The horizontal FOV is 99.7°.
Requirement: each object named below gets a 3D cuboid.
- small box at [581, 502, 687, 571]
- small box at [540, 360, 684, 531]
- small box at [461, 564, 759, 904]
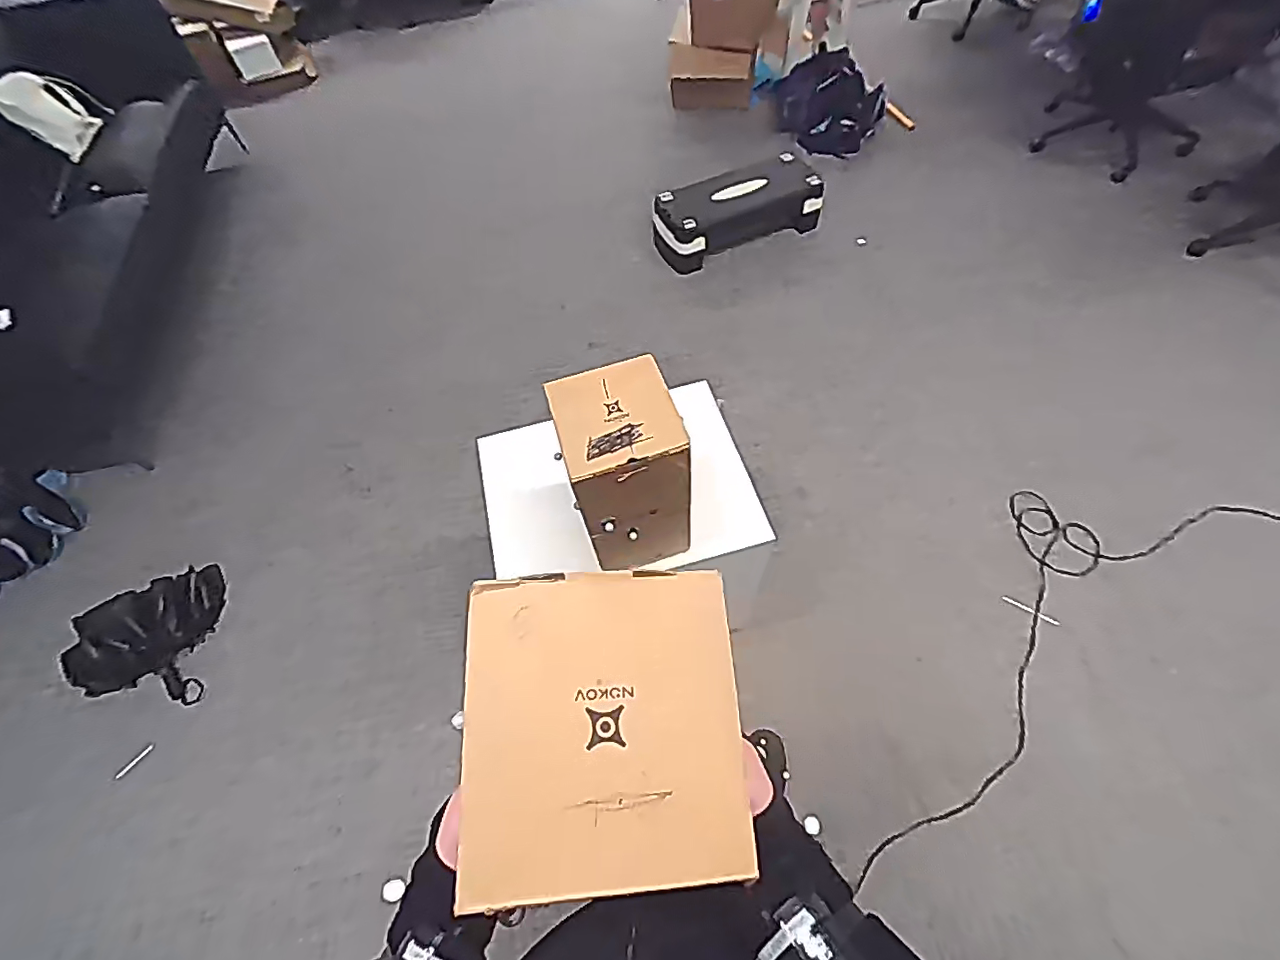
[{"bbox_3d":[-0.025,0.046,0.946,0.168,0.176,0.179,-18,58,-6],"label":"small box"},{"bbox_3d":[-0.036,-0.042,0.807,0.168,0.176,0.179,-18,57,-6],"label":"small box"},{"bbox_3d":[-0.029,0.170,0.397,0.168,0.176,0.179,-2,69,-7],"label":"small box"}]
